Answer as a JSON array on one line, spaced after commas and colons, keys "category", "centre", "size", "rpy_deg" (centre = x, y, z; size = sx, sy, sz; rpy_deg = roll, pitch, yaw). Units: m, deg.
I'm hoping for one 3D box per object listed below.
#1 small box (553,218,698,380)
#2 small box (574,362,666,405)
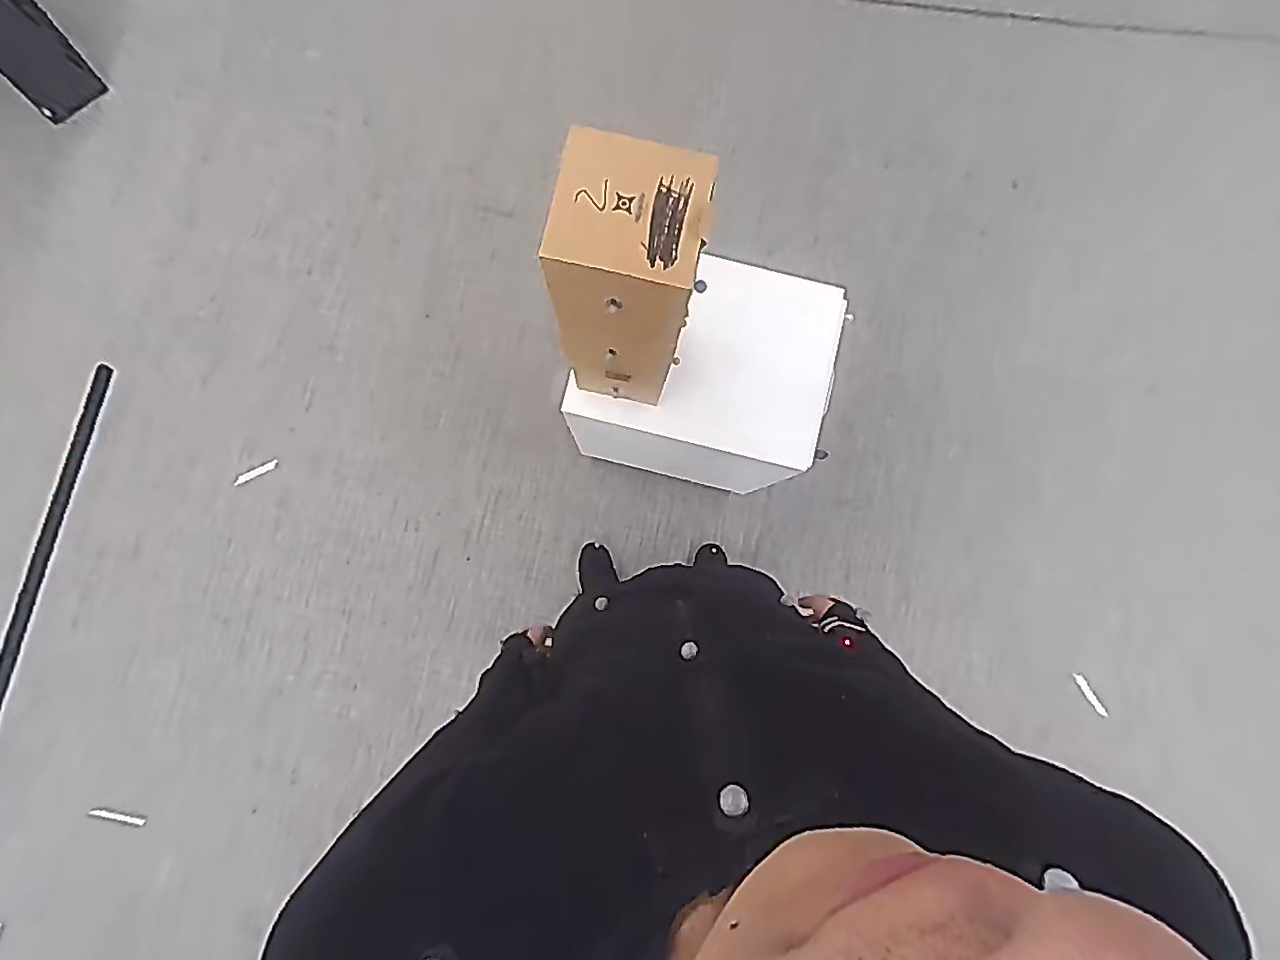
[{"category": "small box", "centre": [-0.022, -0.267, 0.840], "size": [0.179, 0.176, 0.168], "rpy_deg": [13, 84, 0]}, {"category": "small box", "centre": [-0.025, -0.256, 1.005], "size": [0.168, 0.176, 0.179], "rpy_deg": [13, 84, 0]}]
